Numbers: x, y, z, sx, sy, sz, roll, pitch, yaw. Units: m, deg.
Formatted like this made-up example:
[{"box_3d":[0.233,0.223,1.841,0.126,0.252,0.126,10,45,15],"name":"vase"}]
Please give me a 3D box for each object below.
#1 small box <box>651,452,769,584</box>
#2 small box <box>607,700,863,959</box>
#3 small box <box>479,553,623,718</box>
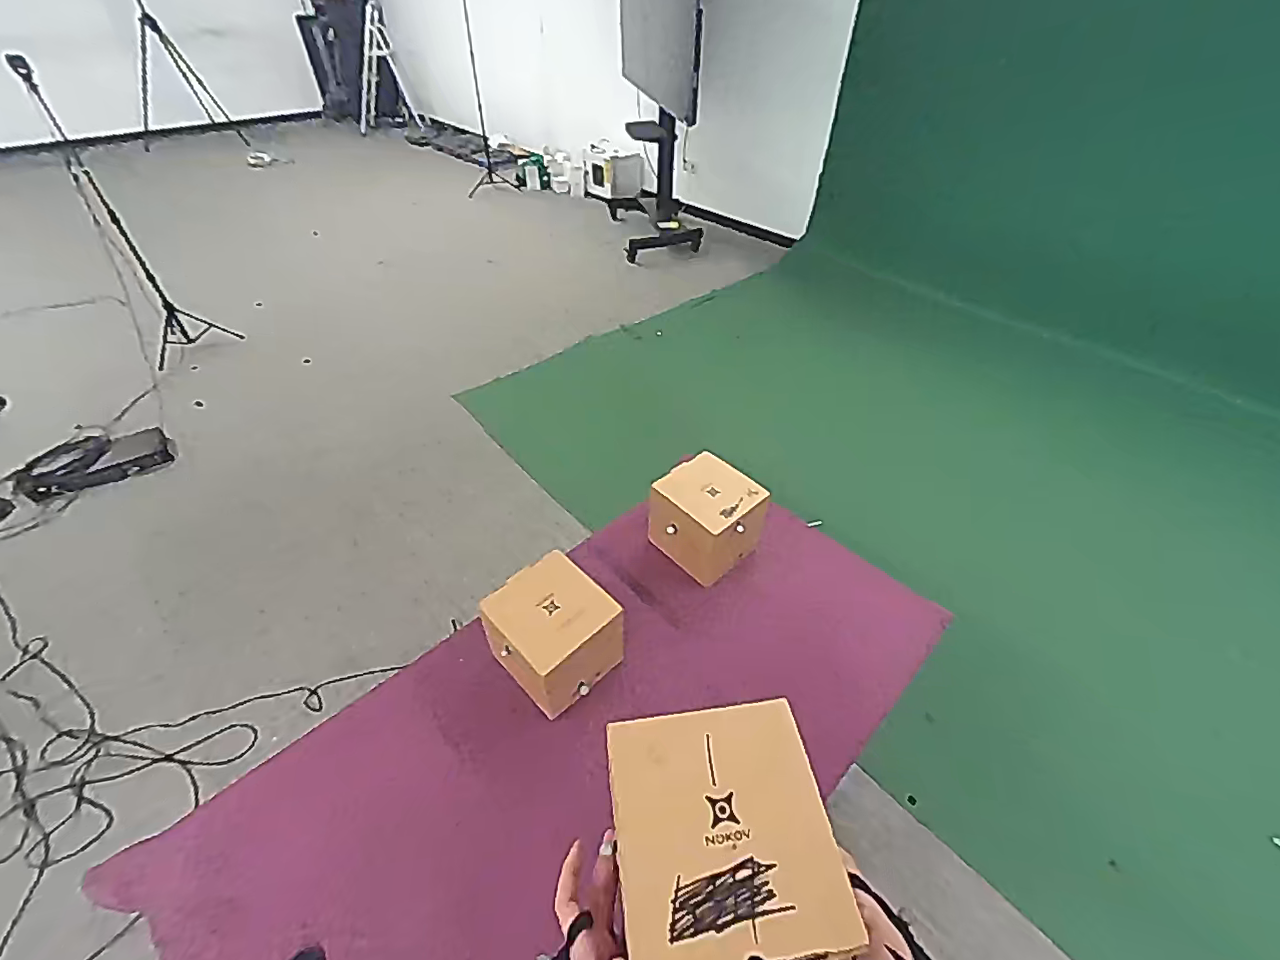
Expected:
[{"box_3d":[0.136,0.078,1.114,0.168,0.176,0.179,-33,52,-29],"name":"small box"},{"box_3d":[0.063,0.321,0.475,0.168,0.176,0.179,-6,46,-6],"name":"small box"},{"box_3d":[-0.145,0.265,0.920,0.168,0.176,0.179,-35,54,-30],"name":"small box"}]
